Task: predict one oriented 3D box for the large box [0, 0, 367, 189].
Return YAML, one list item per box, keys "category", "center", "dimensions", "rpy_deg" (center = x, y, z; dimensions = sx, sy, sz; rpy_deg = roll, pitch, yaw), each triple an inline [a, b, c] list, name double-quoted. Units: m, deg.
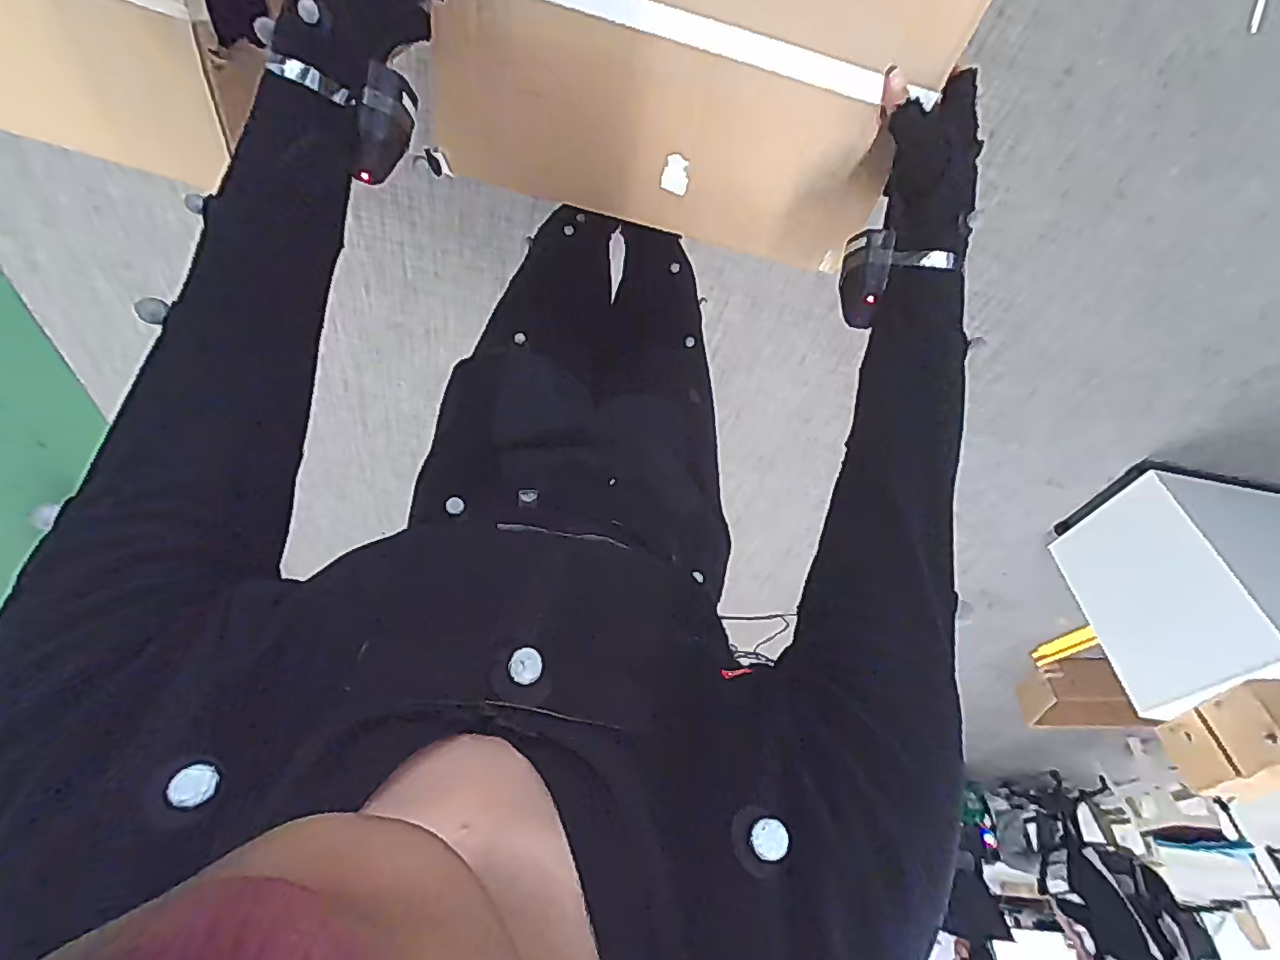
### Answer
- category: "large box"
  center: [-0.528, -0.537, 0.489]
  dimensions: [0.408, 0.320, 0.320]
  rpy_deg: [14, 140, -9]
